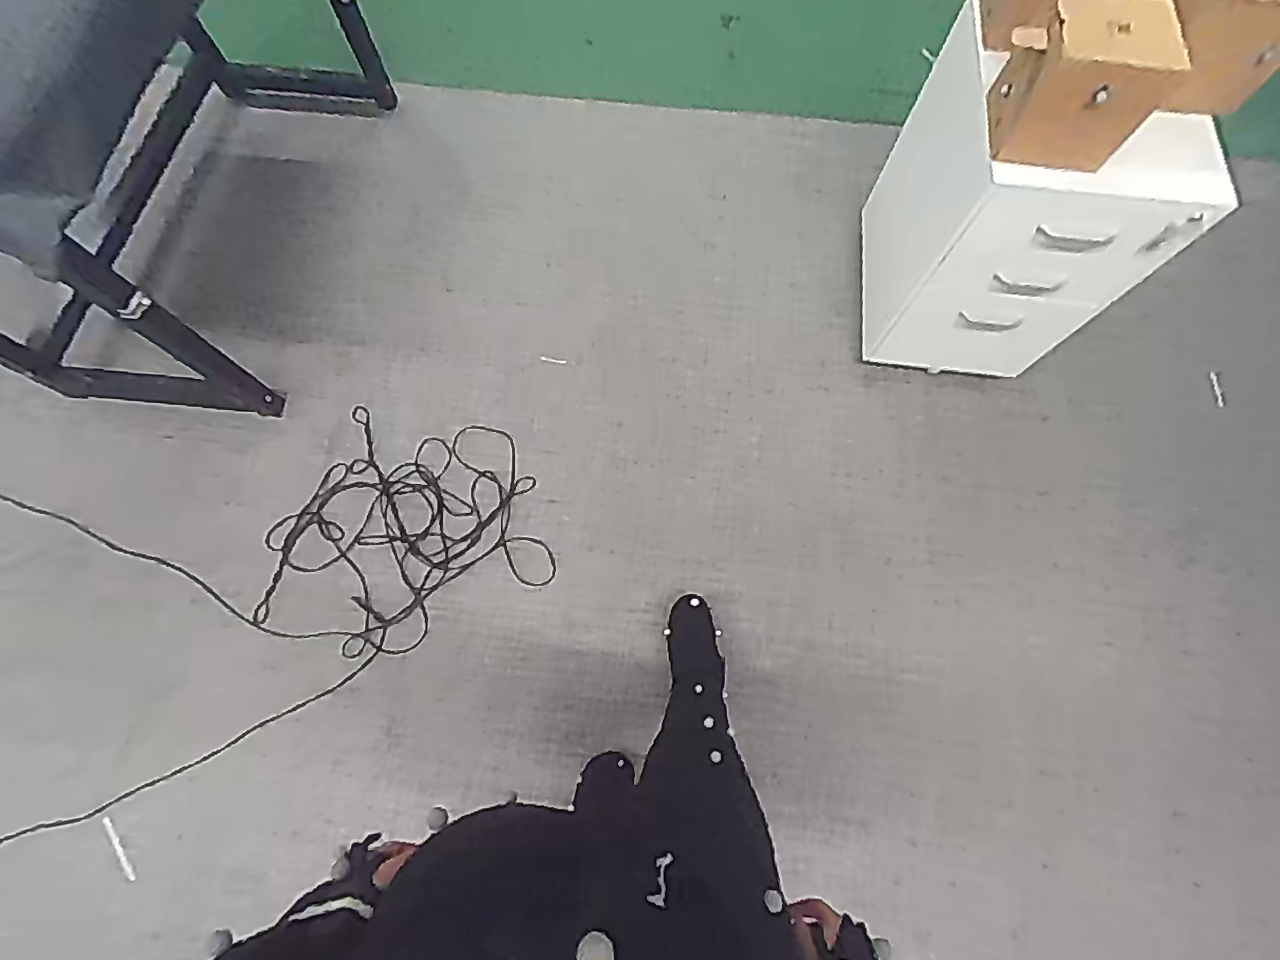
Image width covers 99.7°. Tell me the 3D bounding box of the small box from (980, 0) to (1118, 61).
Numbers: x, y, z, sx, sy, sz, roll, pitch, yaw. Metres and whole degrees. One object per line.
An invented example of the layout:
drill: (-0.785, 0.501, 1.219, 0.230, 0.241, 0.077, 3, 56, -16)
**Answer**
small box: (0.730, -0.872, 0.955, 0.179, 0.176, 0.168, 9, 72, 1)

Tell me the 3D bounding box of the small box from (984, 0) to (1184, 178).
small box: (0.689, -0.615, 0.862, 0.179, 0.176, 0.168, 8, 70, 2)
